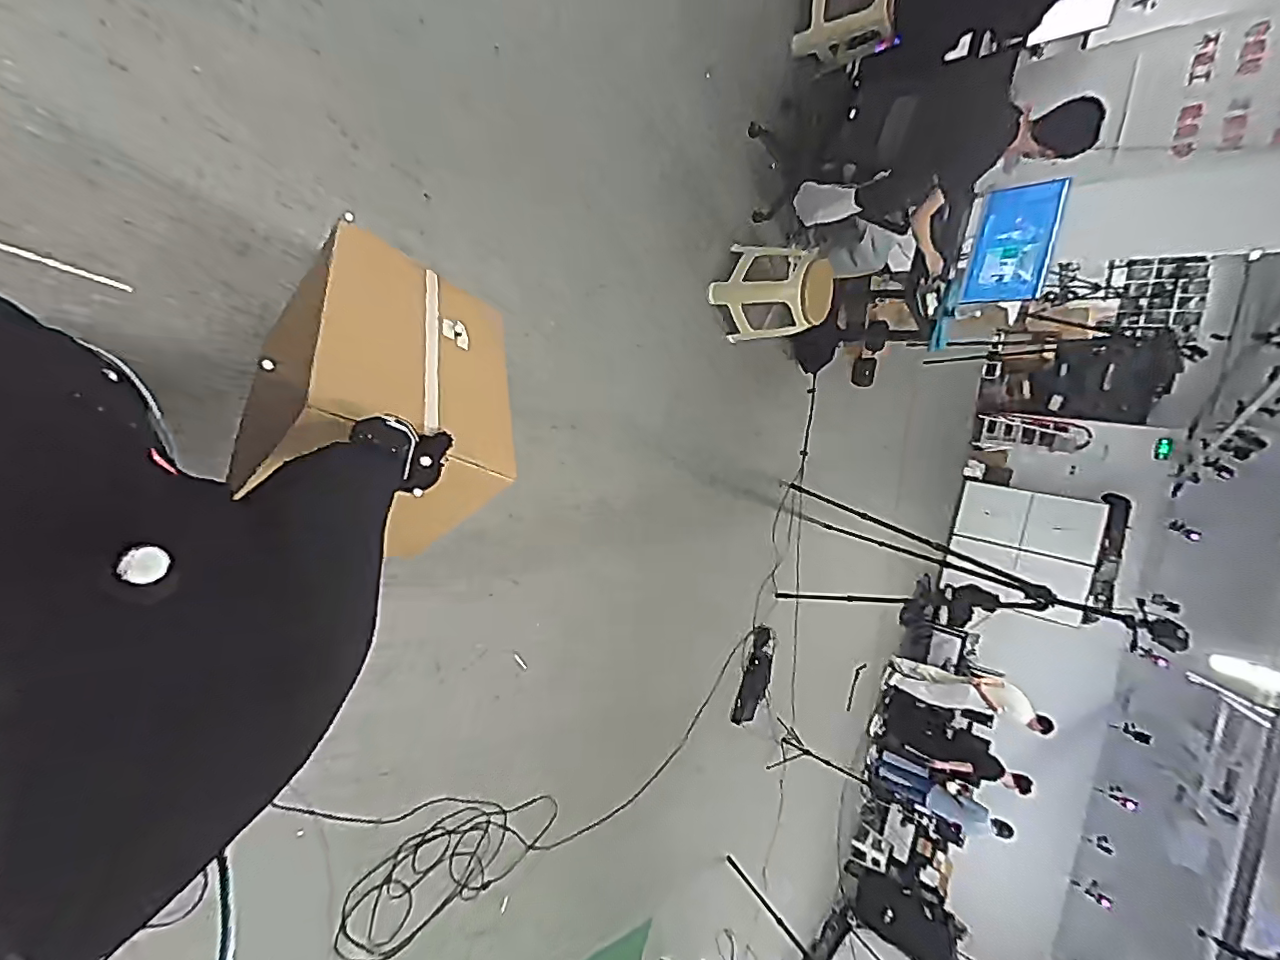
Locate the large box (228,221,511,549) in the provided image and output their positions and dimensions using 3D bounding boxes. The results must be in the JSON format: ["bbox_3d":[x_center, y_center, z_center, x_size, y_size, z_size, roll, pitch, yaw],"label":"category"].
[{"bbox_3d":[-0.457,-0.140,0.945,0.320,0.320,0.408,25,41,-45],"label":"large box"}]
